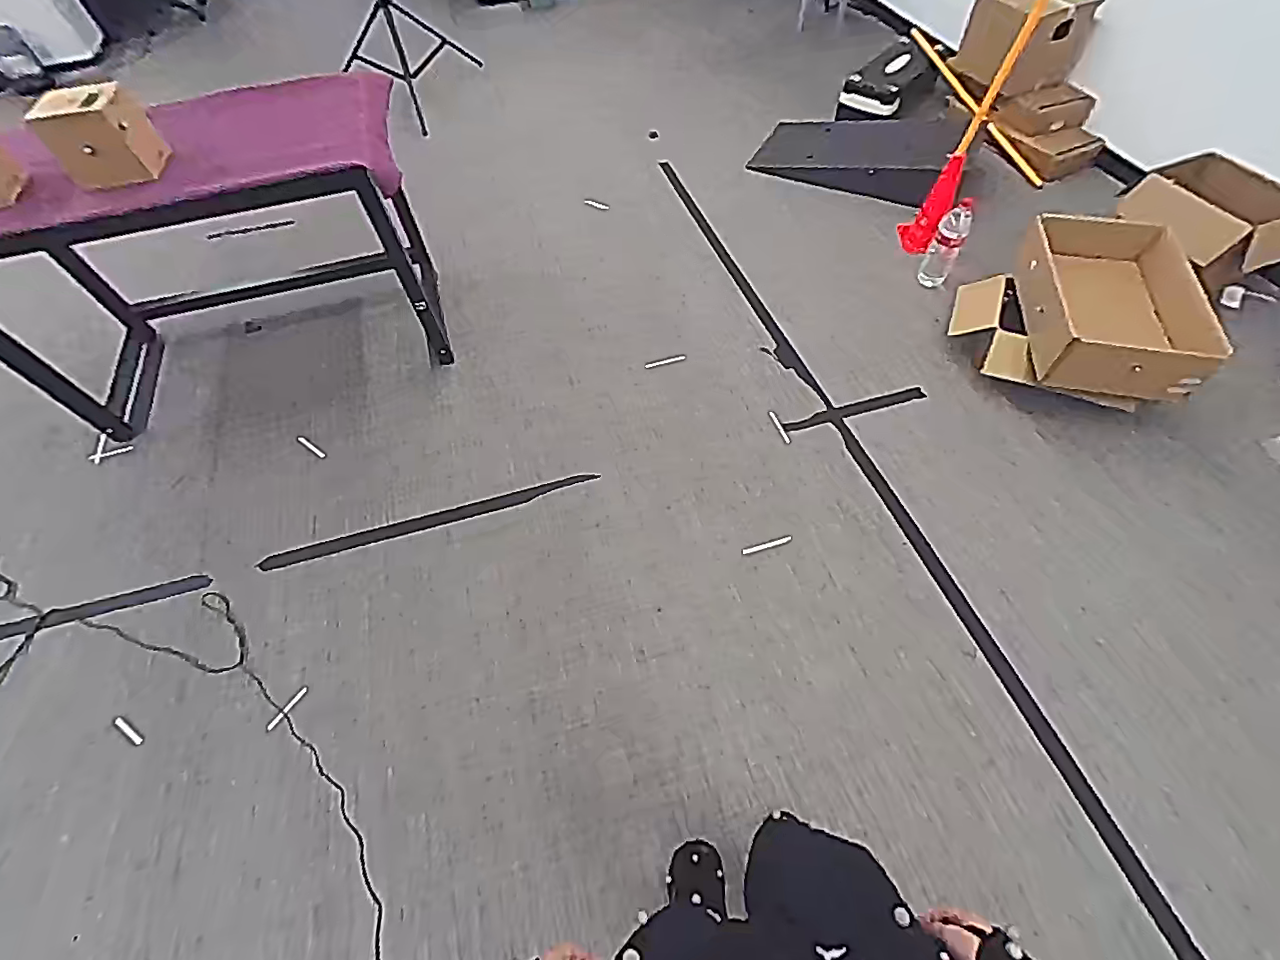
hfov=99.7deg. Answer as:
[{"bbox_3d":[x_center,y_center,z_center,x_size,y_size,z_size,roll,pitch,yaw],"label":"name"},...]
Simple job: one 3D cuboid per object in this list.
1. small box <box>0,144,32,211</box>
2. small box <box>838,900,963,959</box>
[{"bbox_3d":[-1.683,-0.771,1.331,0.179,0.176,0.168,-18,57,-9],"label":"small box"},{"bbox_3d":[0.492,0.934,1.018,0.179,0.176,0.168,31,65,19],"label":"small box"}]
